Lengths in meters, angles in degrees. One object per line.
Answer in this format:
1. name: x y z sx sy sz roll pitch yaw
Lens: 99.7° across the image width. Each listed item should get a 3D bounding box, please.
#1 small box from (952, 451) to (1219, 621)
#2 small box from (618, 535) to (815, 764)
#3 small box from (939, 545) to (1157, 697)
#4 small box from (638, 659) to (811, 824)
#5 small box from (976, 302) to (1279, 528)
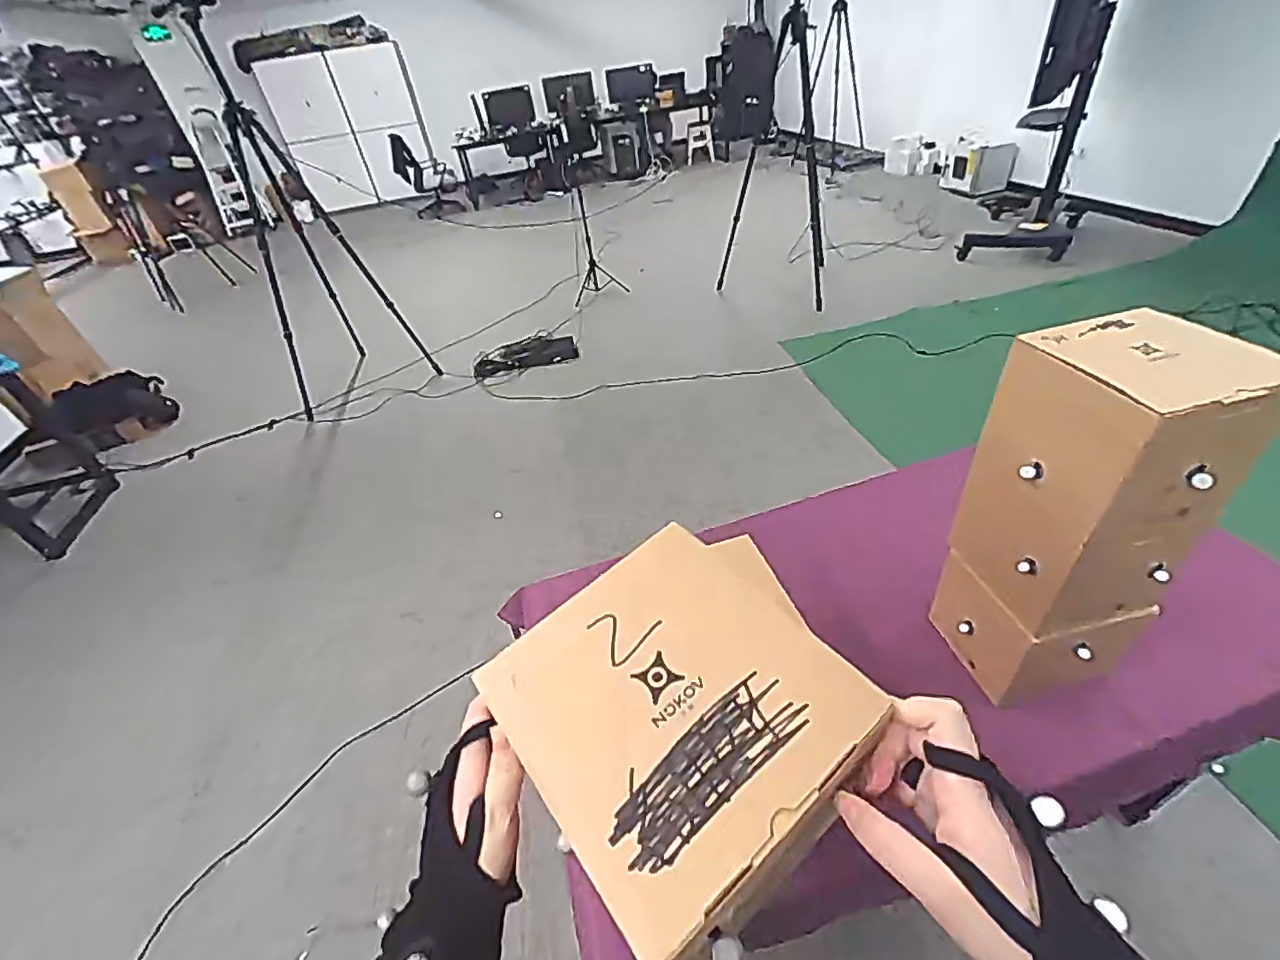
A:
1. small box: 0.538 0.059 0.688 0.168 0.176 0.179 -13 38 -3
2. small box: 0.084 0.199 0.626 0.168 0.176 0.179 -16 38 -7
3. small box: 0.564 0.188 0.783 0.179 0.176 0.168 -13 40 -3
4. small box: 0.111 0.327 0.727 0.179 0.176 0.168 -15 39 -6
5. small box: 0.511 -0.066 0.584 0.168 0.176 0.179 -13 40 -4
